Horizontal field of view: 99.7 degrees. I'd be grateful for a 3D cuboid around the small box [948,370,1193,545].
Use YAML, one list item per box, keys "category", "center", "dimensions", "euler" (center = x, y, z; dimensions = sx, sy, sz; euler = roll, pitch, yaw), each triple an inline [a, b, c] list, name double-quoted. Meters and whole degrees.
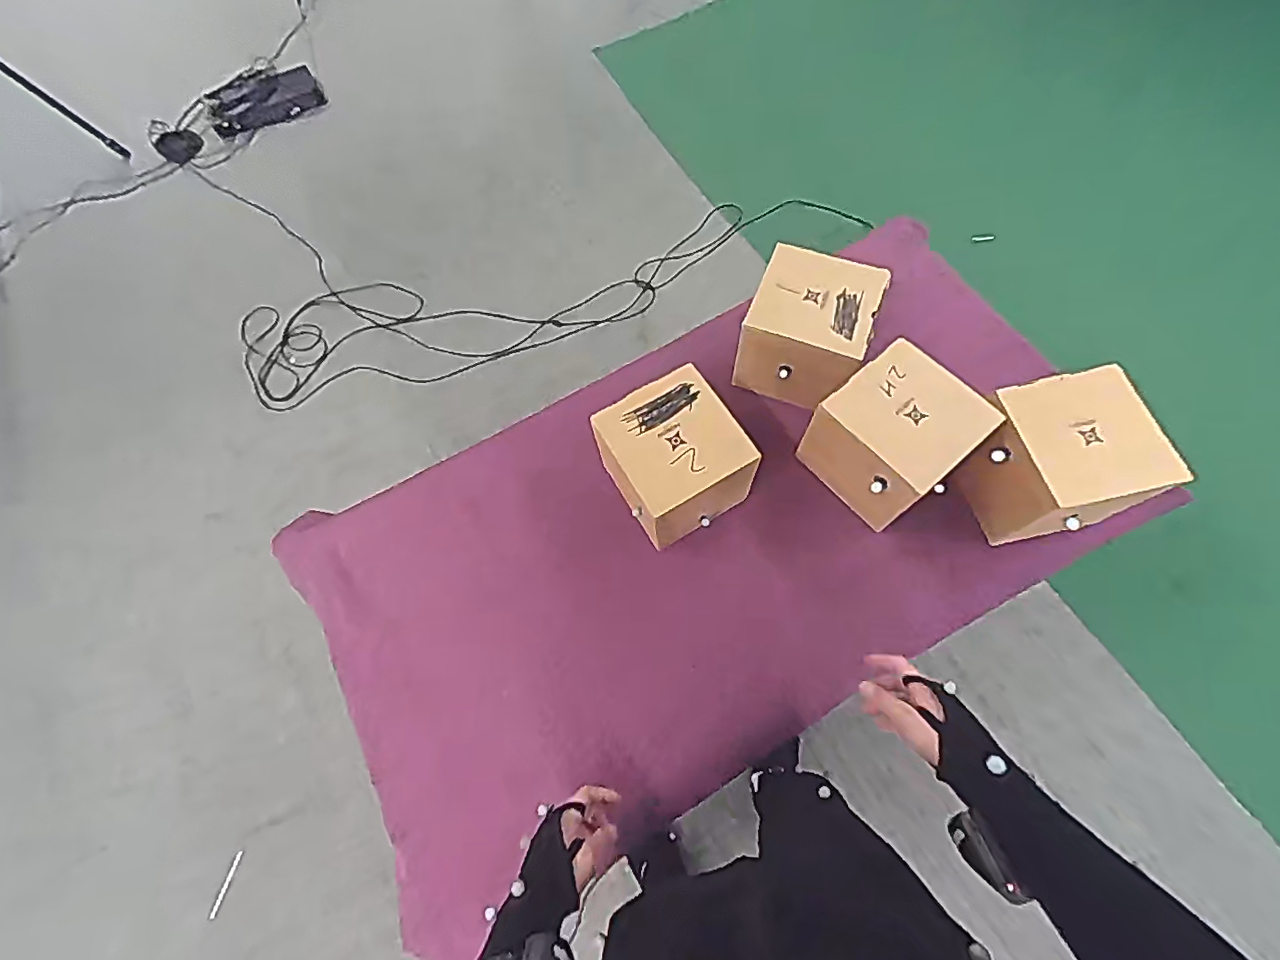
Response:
- category: "small box"
  center: [0.568, -0.019, 0.745]
  dimensions: [0.168, 0.176, 0.179]
  euler: [-12, 66, 0]
